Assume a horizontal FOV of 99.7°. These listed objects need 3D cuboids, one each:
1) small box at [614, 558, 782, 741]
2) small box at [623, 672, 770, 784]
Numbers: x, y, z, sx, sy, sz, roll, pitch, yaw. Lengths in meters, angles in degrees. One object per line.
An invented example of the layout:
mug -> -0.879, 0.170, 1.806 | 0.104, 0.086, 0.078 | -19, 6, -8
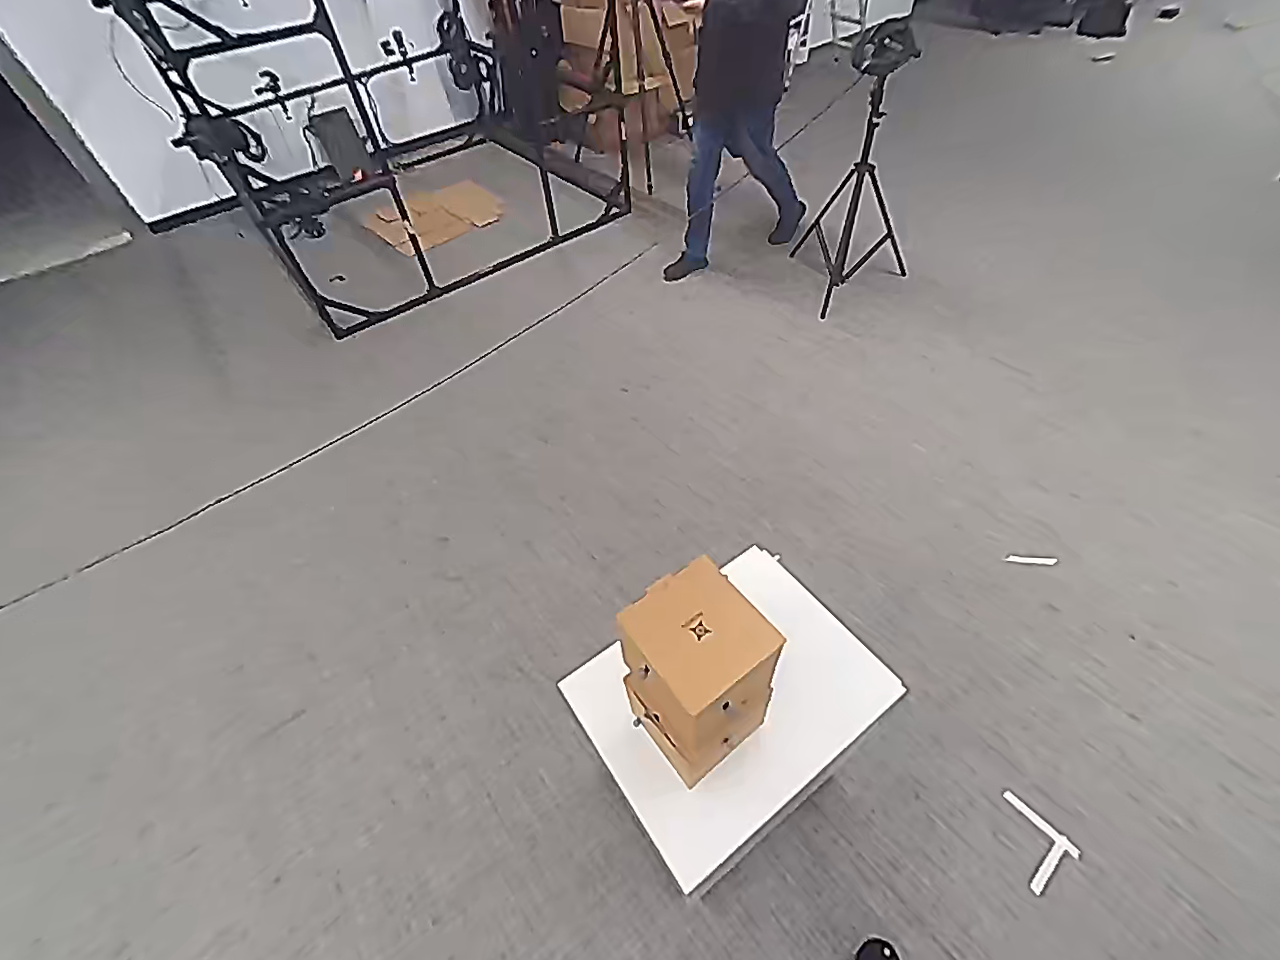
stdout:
small box -> 0.084, 0.257, 0.801 | 0.168, 0.176, 0.179 | -31, 53, -20
small box -> 0.095, 0.375, 0.913 | 0.179, 0.176, 0.168 | -32, 54, -21
